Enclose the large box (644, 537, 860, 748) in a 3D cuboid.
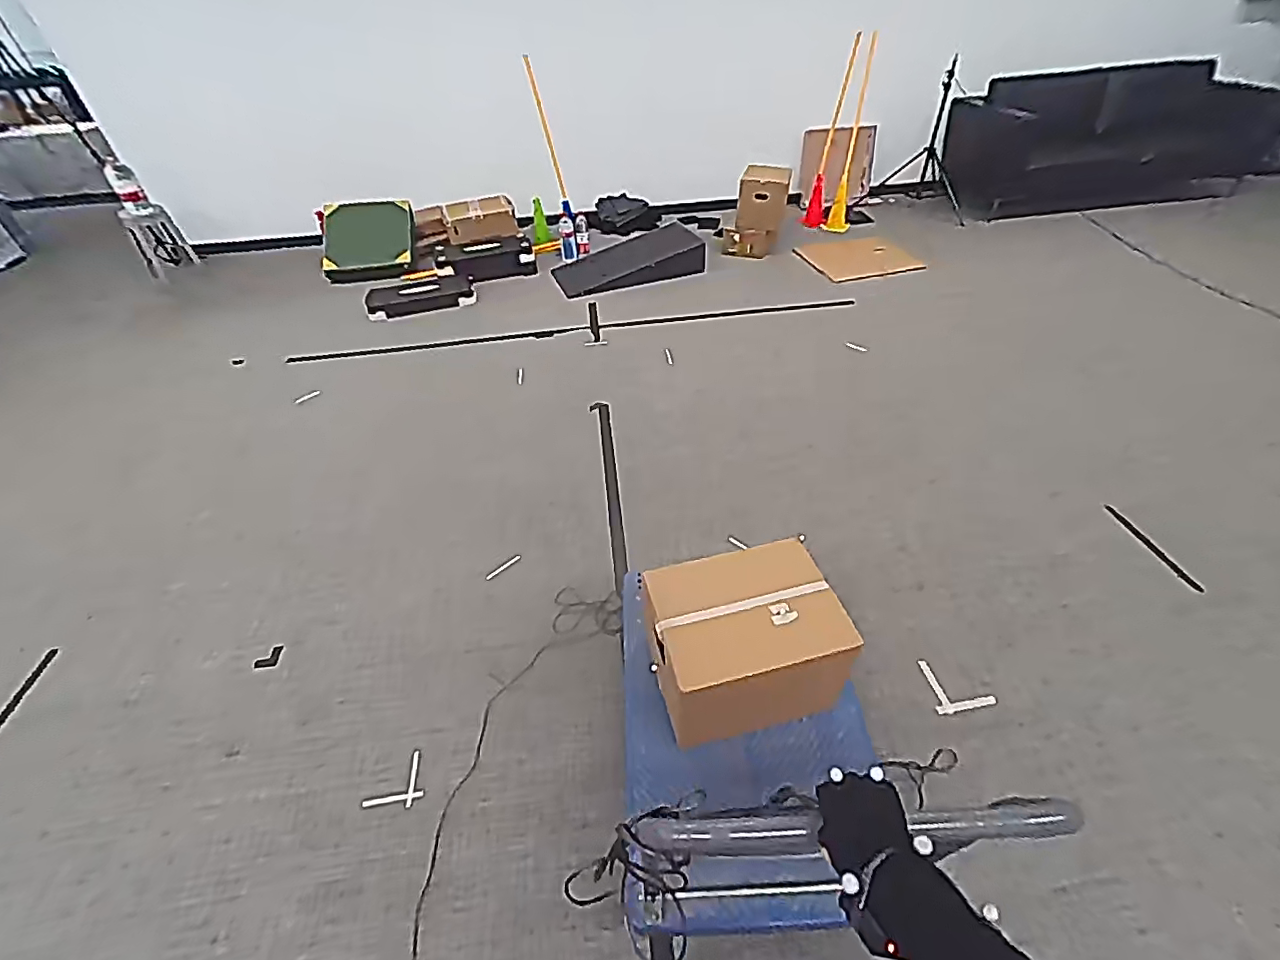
[{"bbox_3d":[0.241,0.390,1.311,0.408,0.320,0.320,-11,44,-9],"label":"large box"}]
